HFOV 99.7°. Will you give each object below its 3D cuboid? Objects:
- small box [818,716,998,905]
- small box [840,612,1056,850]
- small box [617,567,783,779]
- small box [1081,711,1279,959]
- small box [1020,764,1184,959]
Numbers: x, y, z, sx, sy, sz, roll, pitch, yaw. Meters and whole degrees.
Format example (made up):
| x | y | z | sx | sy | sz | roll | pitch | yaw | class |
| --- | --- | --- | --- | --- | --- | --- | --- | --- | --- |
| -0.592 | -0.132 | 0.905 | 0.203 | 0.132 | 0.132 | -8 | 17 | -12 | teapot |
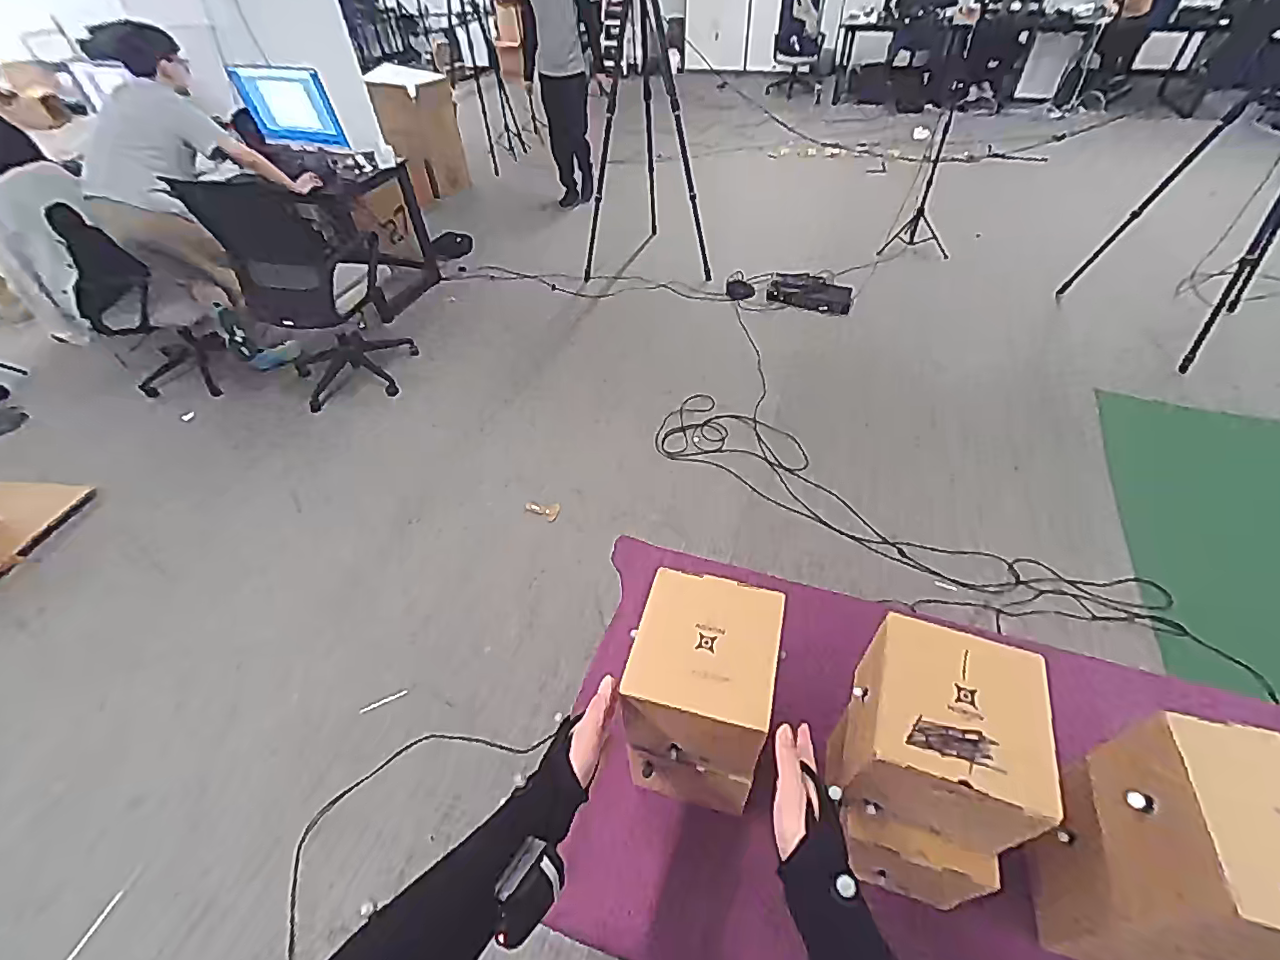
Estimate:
| x | y | z | sx | sy | sz | roll | pitch | yaw | class |
| --- | --- | --- | --- | --- | --- | --- | --- | --- | --- |
| 0.341 | 0.427 | 0.720 | 0.168 | 0.176 | 0.179 | 12 | 48 | 13 | small box |
| 0.340 | 0.290 | 0.624 | 0.168 | 0.176 | 0.179 | 15 | 48 | 17 | small box |
| 0.077 | 0.242 | 0.682 | 0.168 | 0.176 | 0.179 | 10 | 47 | 13 | small box |
| 0.587 | 0.365 | 0.535 | 0.168 | 0.176 | 0.179 | 9 | 46 | 13 | small box |
| 0.591 | 0.481 | 0.651 | 0.168 | 0.176 | 0.179 | 10 | 47 | 13 | small box |
